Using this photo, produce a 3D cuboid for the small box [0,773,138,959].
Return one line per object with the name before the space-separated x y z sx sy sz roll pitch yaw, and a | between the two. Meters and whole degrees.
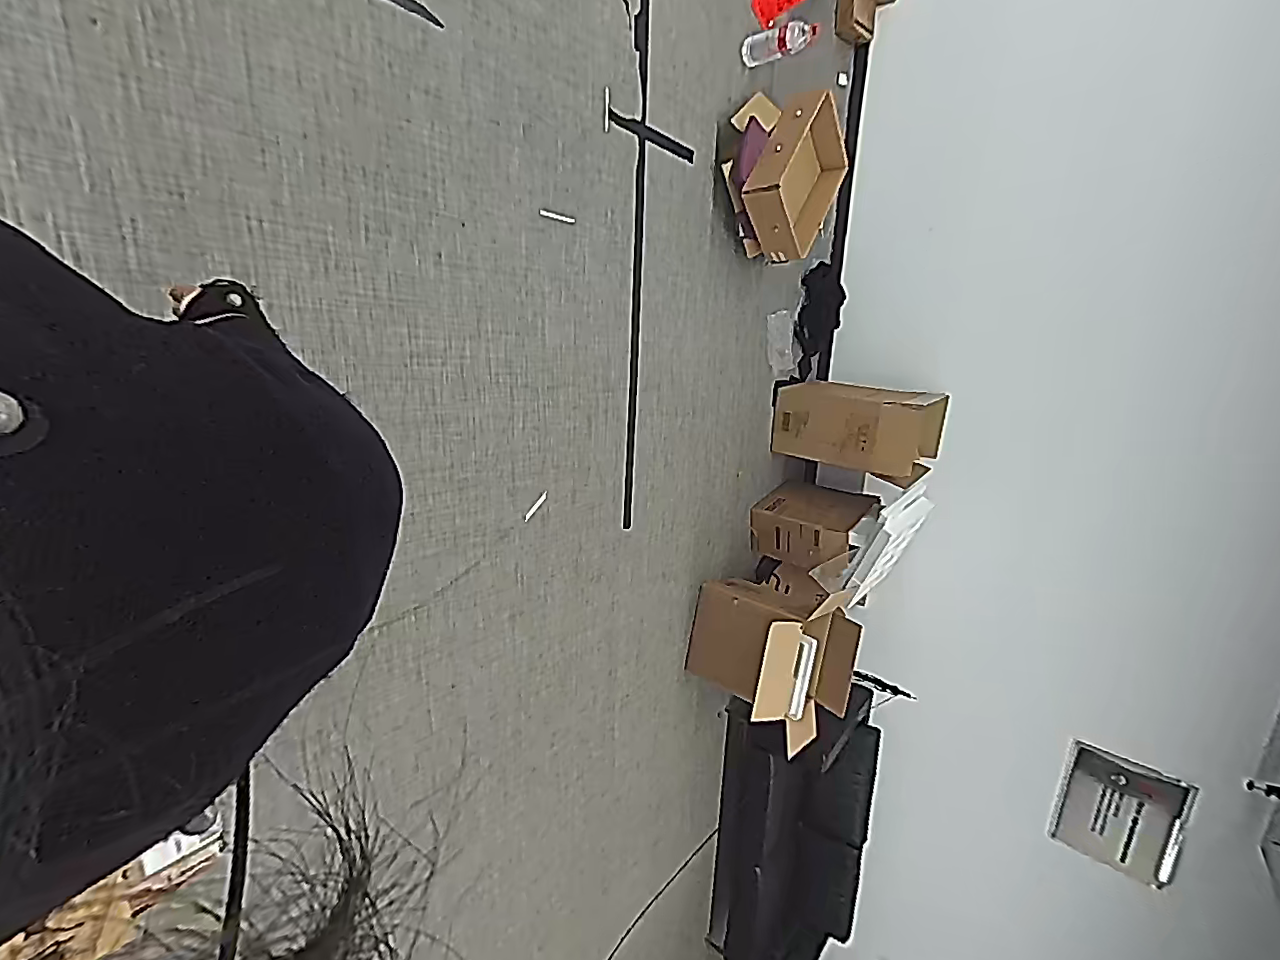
small box | -0.806 0.542 0.724 0.168 0.176 0.179 -14 108 -48
